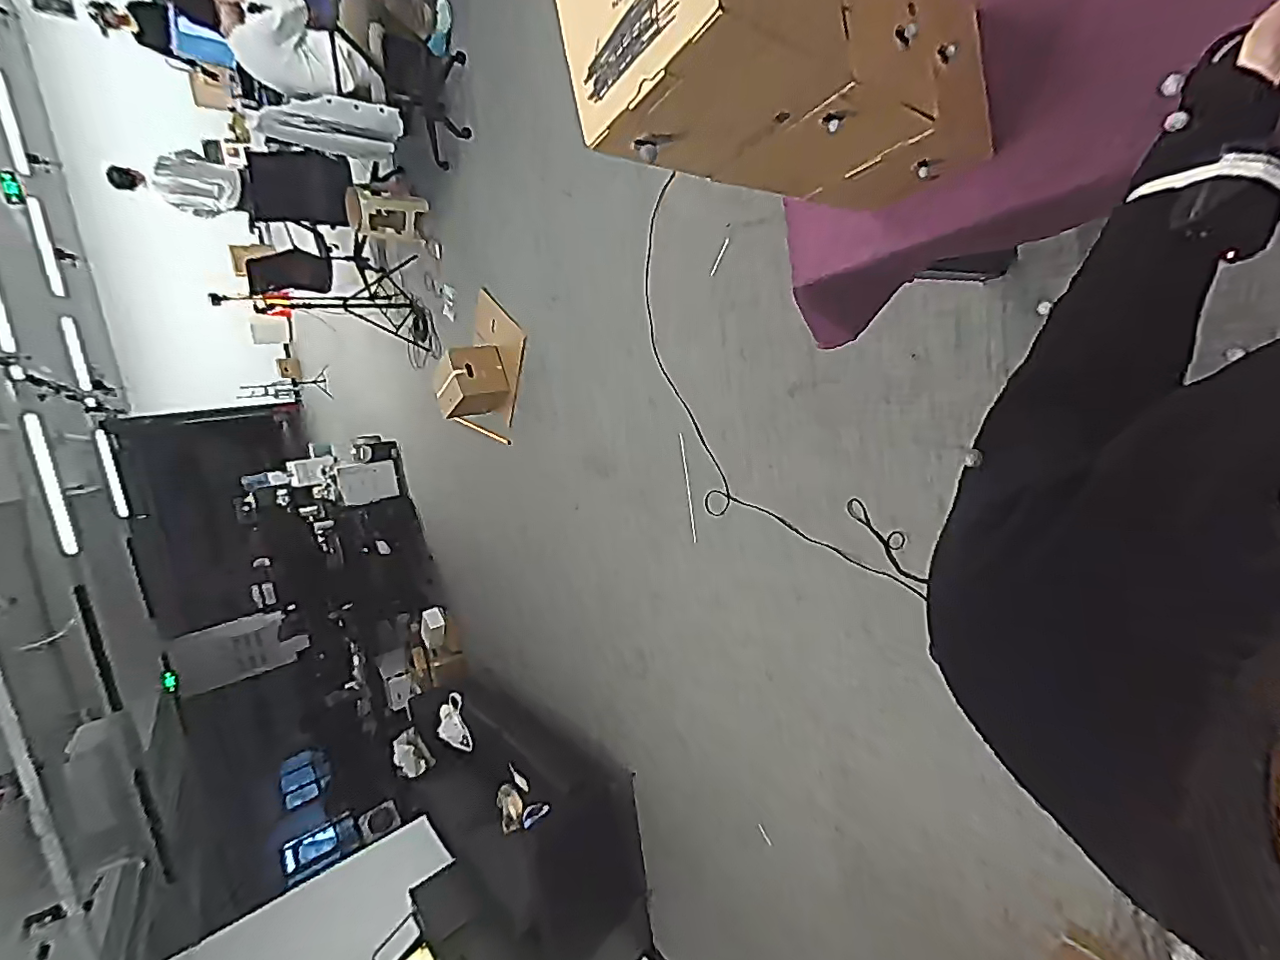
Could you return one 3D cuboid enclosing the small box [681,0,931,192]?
[{"bbox_3d":[0.174,-0.431,0.571,0.179,0.176,0.168,-7,97,51],"label":"small box"}]

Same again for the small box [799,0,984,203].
[{"bbox_3d":[0.300,-0.463,0.667,0.168,0.176,0.179,-3,98,51],"label":"small box"}]
